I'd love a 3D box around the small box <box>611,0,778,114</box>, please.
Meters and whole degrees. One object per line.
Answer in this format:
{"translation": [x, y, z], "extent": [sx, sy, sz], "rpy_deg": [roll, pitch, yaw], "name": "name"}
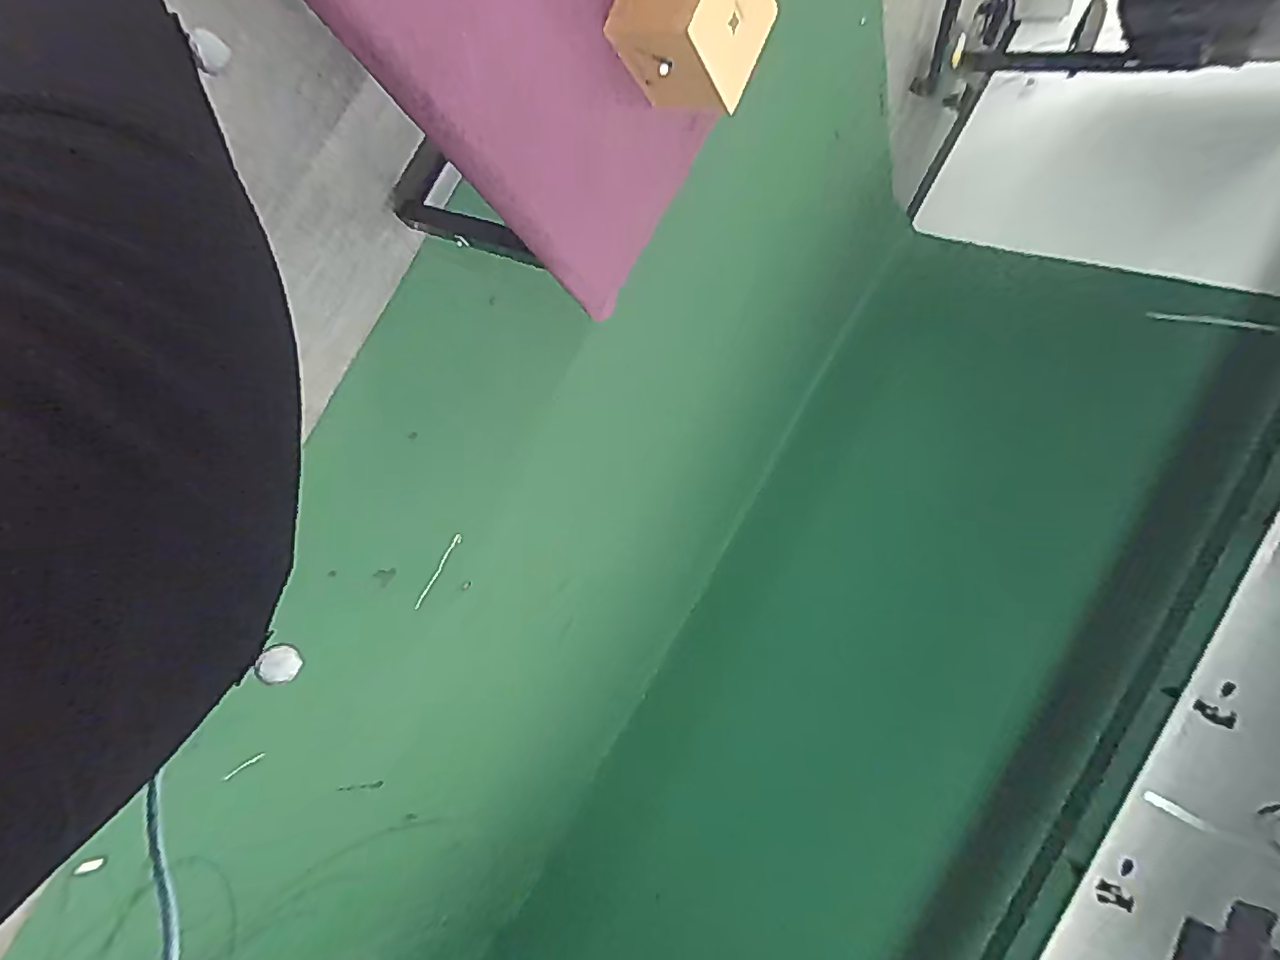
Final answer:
{"translation": [0.079, -0.708, 0.835], "extent": [0.168, 0.176, 0.179], "rpy_deg": [15, 101, -58], "name": "small box"}
